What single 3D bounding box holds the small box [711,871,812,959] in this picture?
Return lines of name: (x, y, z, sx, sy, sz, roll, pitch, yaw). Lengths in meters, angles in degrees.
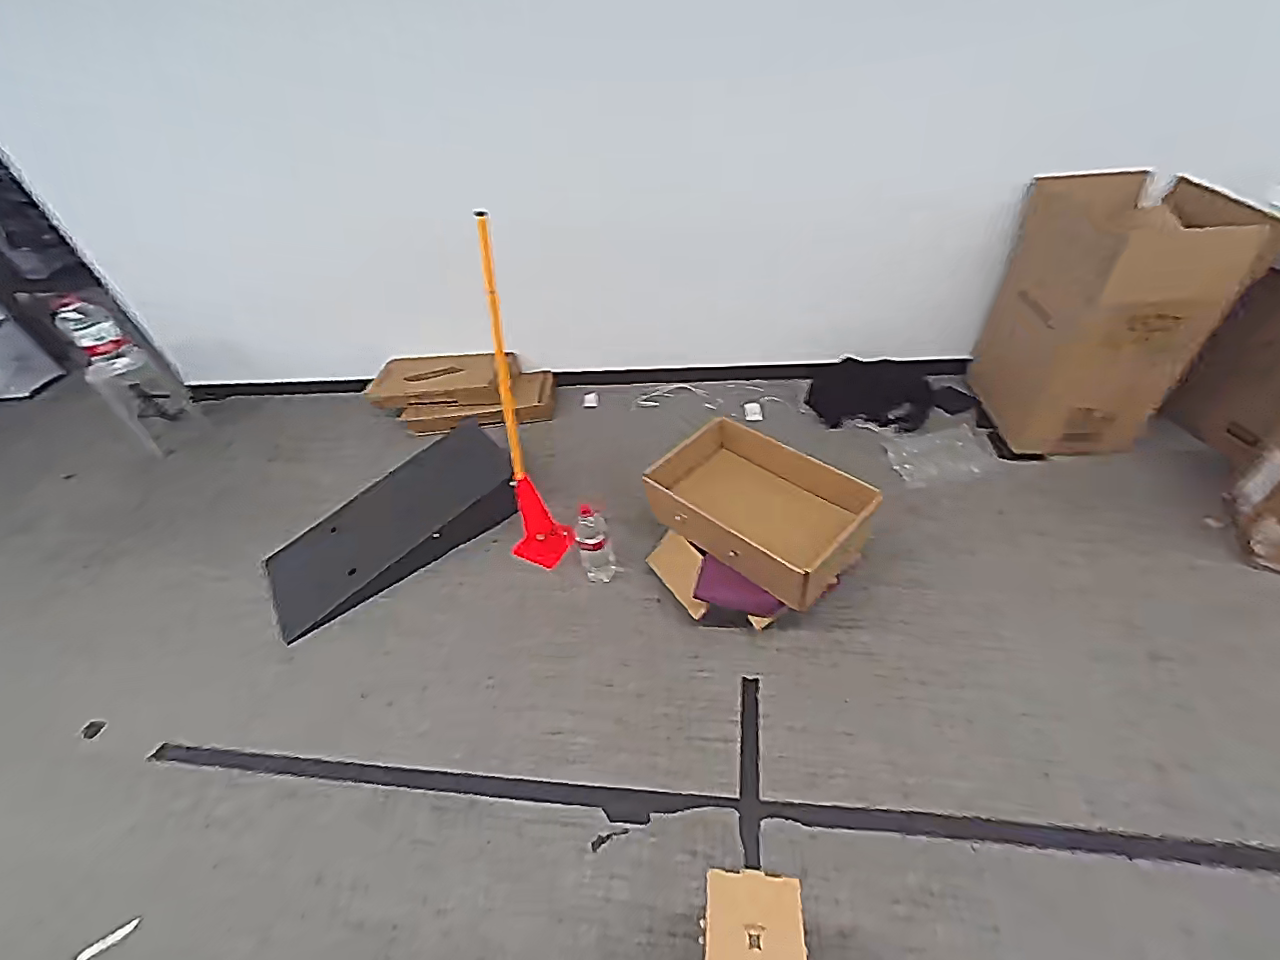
small box: (0.210, 0.826, 0.956, 0.168, 0.176, 0.179, -1, 41, 9)
